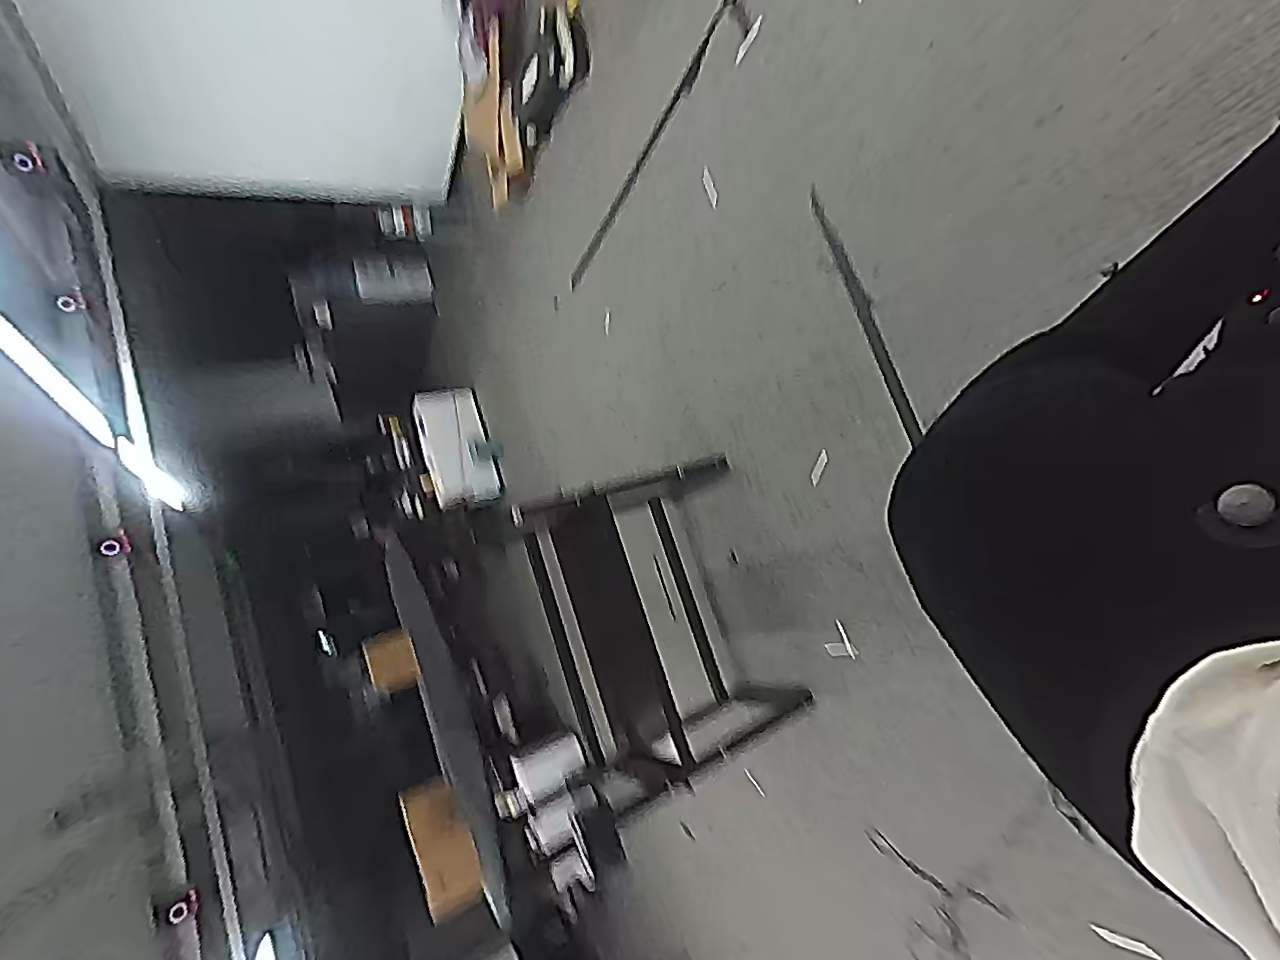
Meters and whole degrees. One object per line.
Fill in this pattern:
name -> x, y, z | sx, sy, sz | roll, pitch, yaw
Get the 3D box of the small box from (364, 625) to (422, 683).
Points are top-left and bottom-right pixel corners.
small box -> -0.955, 0.670, 2.091 | 0.179, 0.176, 0.168 | -33, 74, 58

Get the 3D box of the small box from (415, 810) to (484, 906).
small box -> -0.613, 1.207, 1.740 | 0.168, 0.176, 0.179 | -39, 68, 58

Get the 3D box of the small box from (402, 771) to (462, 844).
small box -> -0.767, 1.208, 1.999 | 0.168, 0.176, 0.179 | -36, 71, 57
